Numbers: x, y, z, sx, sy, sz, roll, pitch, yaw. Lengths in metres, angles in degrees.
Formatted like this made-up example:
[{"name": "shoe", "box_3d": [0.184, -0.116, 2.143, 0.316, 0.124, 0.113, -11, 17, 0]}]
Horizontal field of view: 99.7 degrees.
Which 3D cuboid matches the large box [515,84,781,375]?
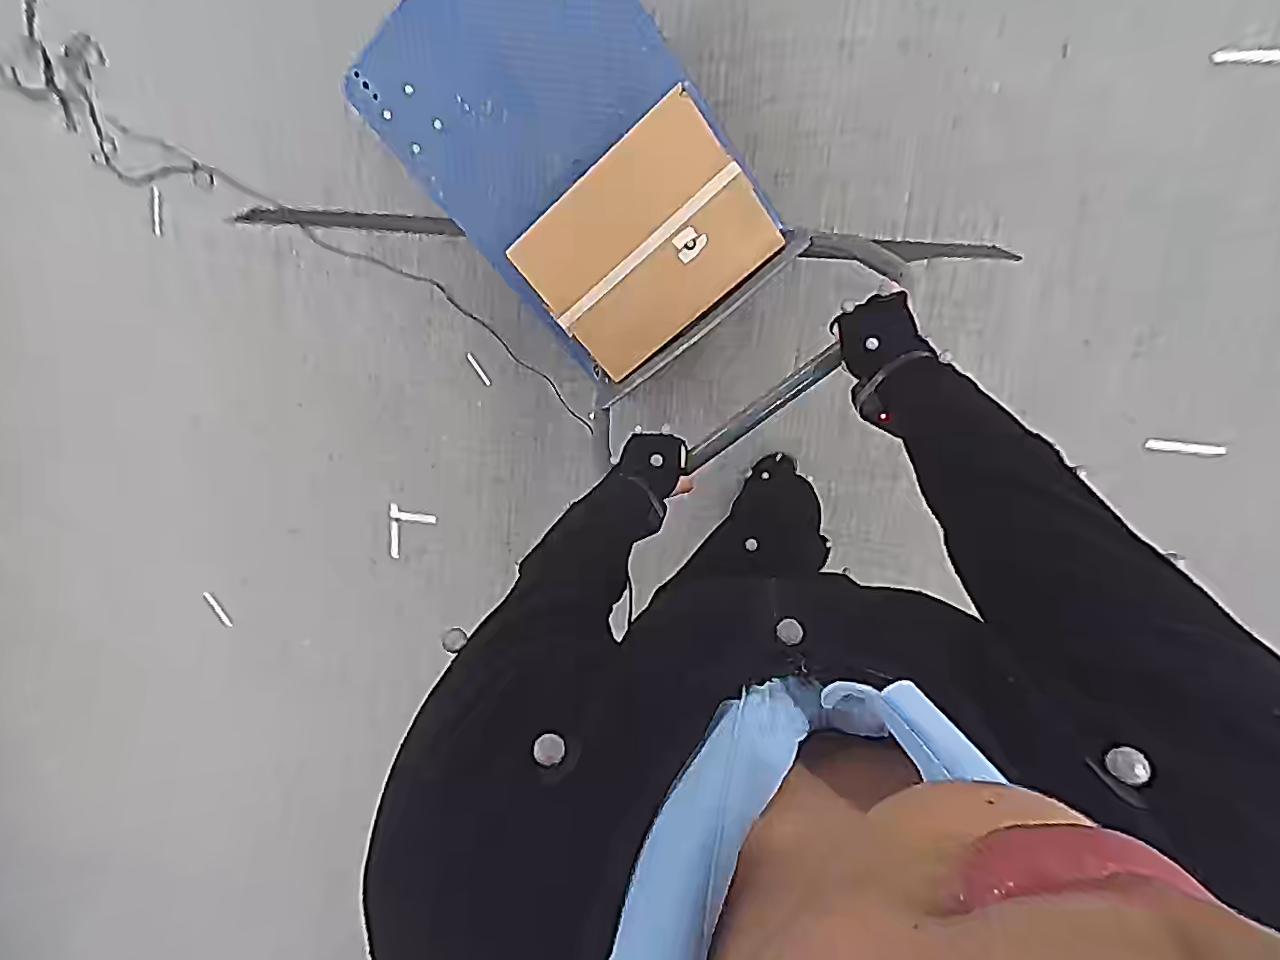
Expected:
[{"name": "large box", "box_3d": [0.011, -0.487, 1.122, 0.408, 0.320, 0.320, -38, 109, 14]}]
